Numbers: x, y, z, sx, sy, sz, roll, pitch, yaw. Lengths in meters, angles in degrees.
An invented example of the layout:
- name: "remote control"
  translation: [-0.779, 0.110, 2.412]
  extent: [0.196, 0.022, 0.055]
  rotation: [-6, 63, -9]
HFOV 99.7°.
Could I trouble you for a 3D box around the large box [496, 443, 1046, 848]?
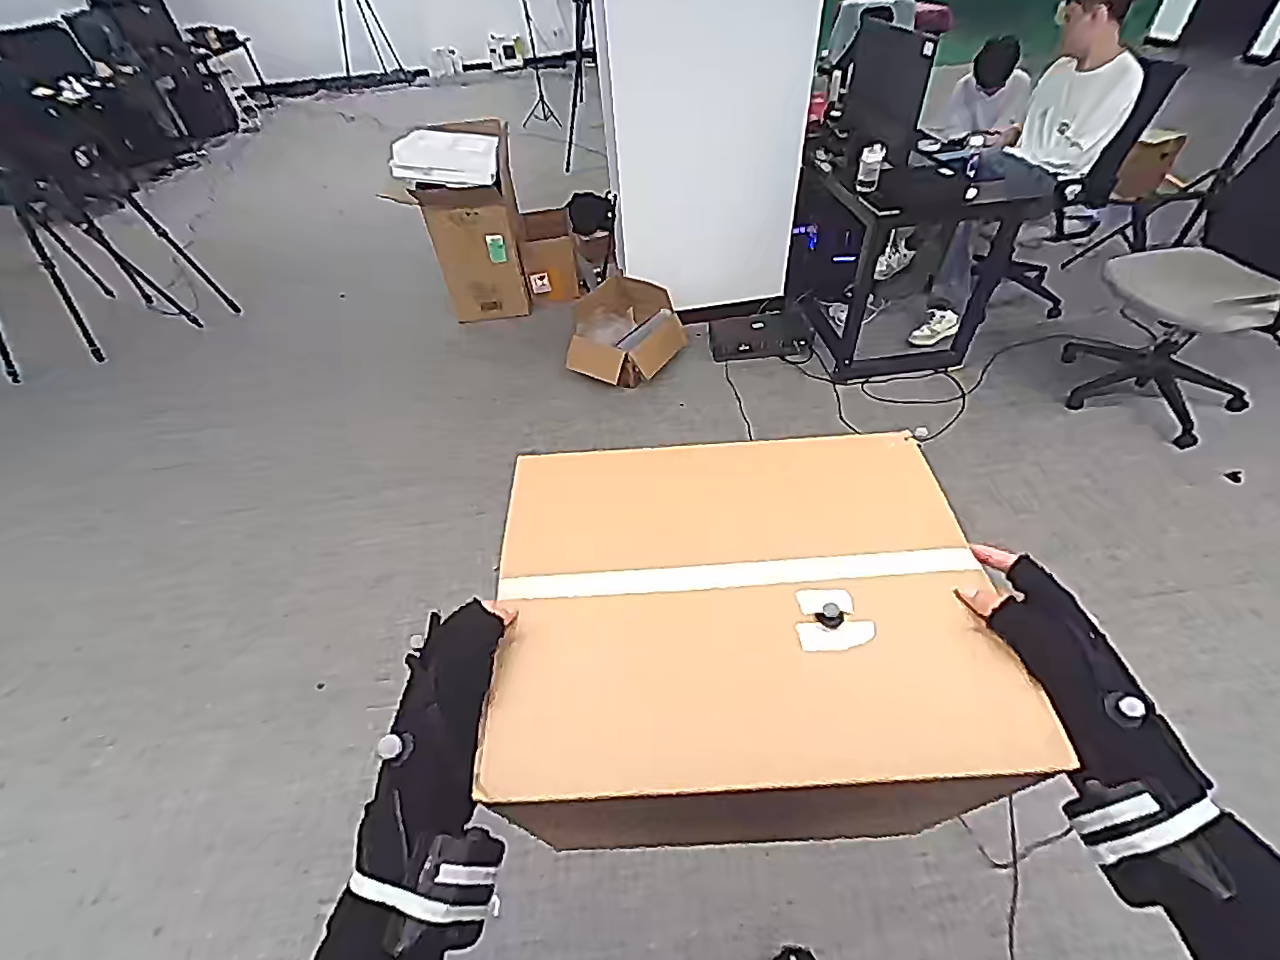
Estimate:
- name: "large box"
  translation: [0.091, 0.186, 0.591]
  extent: [0.408, 0.320, 0.320]
  rotation: [-4, 50, 1]
